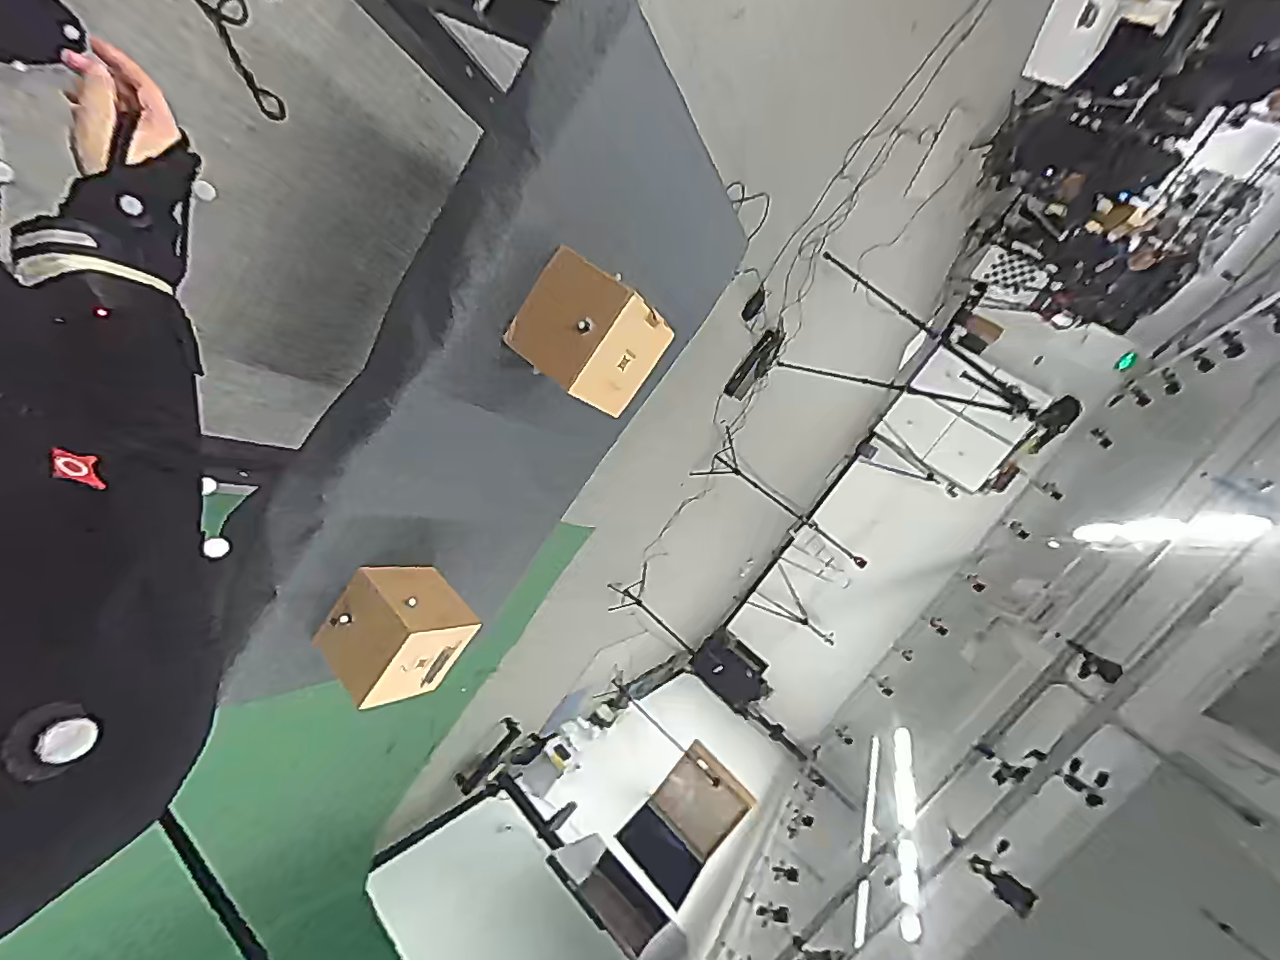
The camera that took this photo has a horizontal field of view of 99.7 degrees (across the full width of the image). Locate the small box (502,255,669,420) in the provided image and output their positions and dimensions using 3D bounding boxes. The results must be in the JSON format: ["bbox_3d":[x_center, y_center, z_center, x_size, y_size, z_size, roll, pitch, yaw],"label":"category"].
[{"bbox_3d":[-0.089,-0.229,0.878,0.179,0.176,0.168,-54,156,9],"label":"small box"}]
